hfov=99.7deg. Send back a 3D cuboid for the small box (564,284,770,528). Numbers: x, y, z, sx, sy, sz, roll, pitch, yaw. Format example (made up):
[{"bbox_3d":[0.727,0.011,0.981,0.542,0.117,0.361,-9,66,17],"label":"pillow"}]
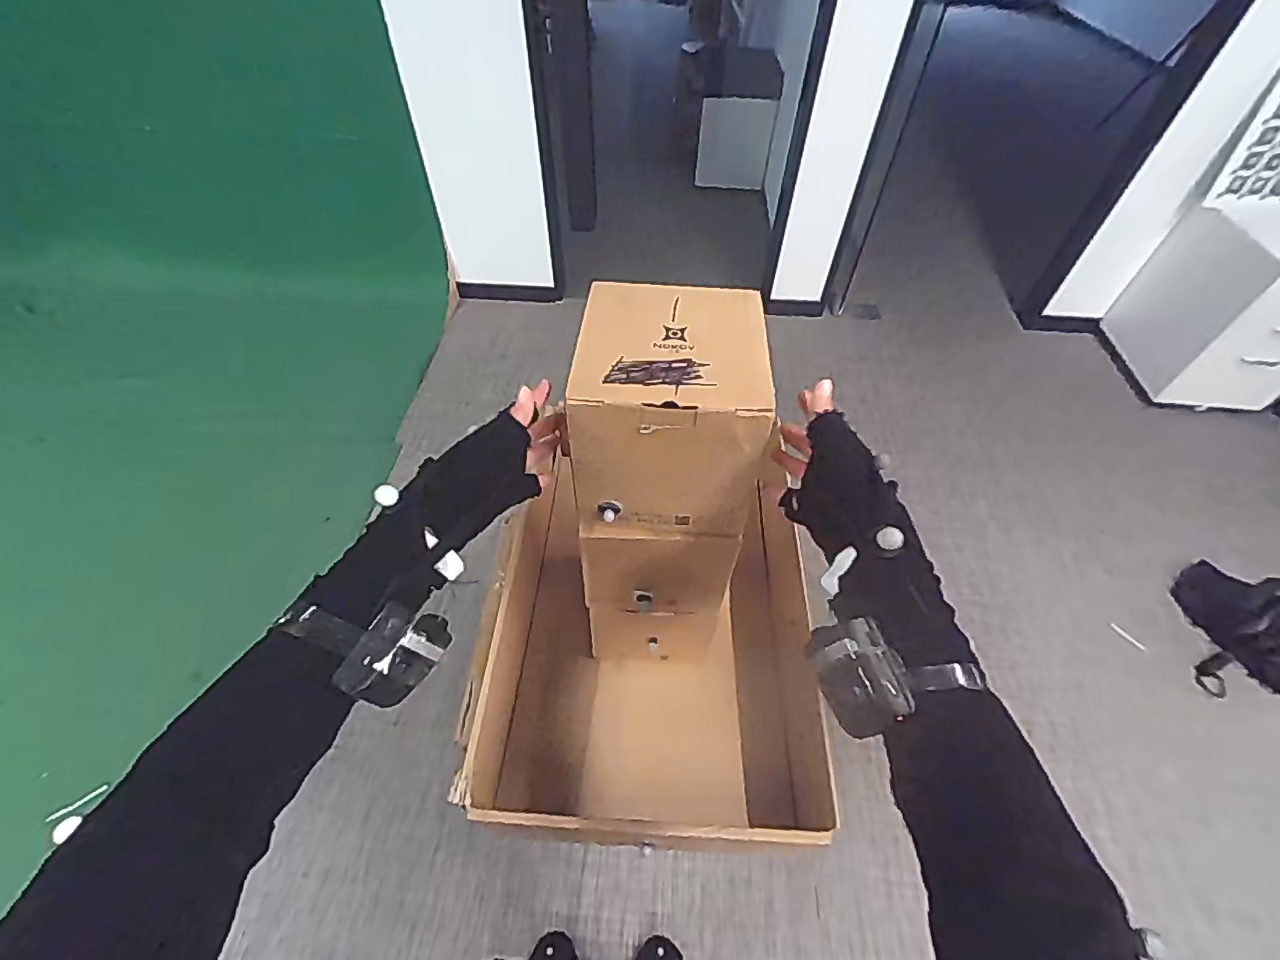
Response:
[{"bbox_3d":[0.027,-0.069,0.535,0.168,0.176,0.179,4,50,2],"label":"small box"}]

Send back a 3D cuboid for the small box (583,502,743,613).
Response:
[{"bbox_3d":[0.023,0.042,0.656,0.168,0.176,0.179,1,52,0],"label":"small box"}]
